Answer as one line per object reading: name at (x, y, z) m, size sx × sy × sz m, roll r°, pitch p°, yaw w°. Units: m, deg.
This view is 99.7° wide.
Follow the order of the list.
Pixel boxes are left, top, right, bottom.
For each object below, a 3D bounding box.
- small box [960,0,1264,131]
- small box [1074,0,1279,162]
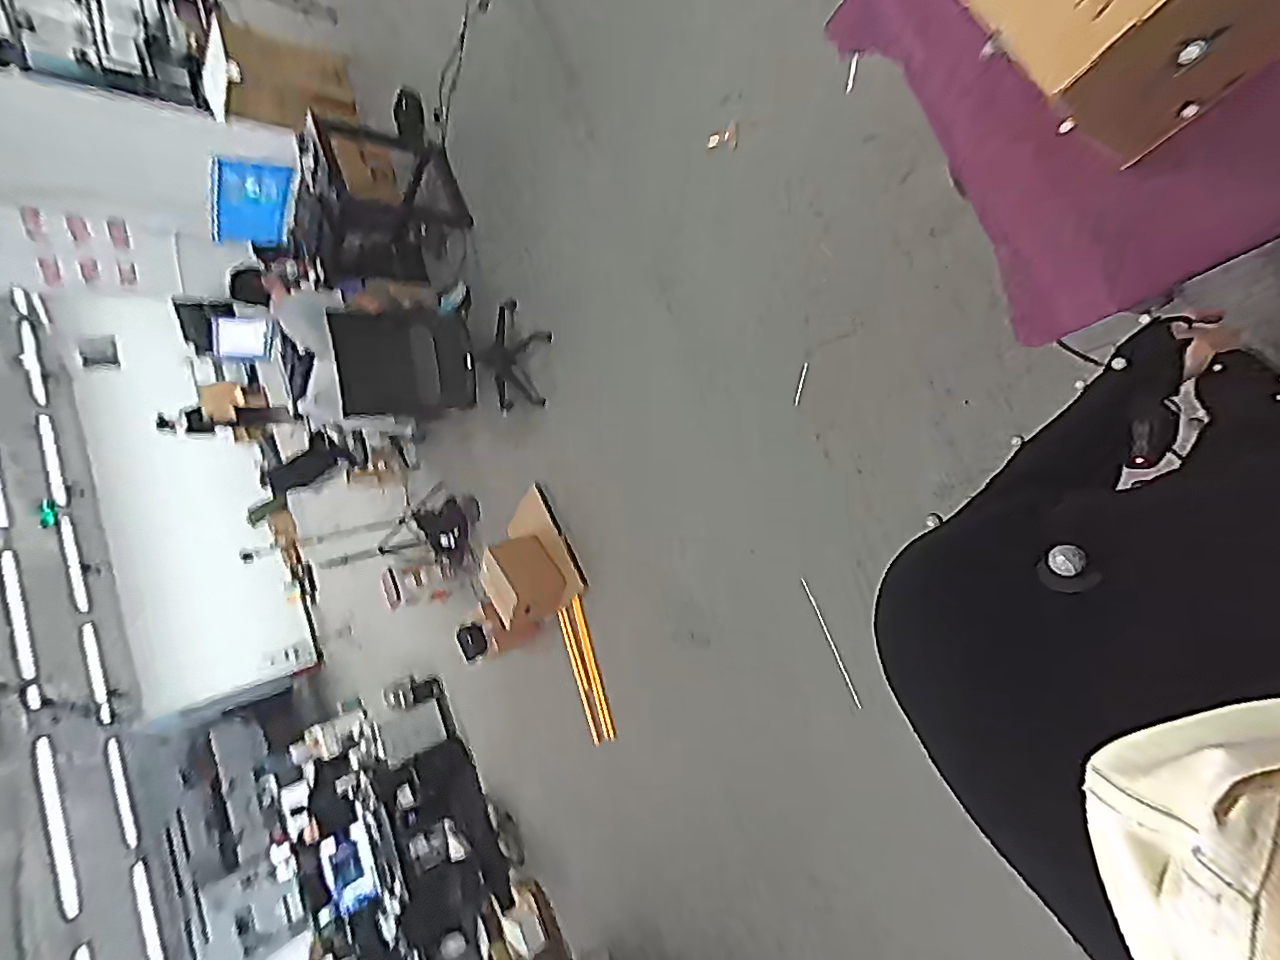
small box at (0.403, -0.444, 0.467) m, size 0.168 × 0.176 × 0.179 m, roll -41°, pitch 69°, yaw 45°
small box at (0.527, -0.475, 0.571) m, size 0.168 × 0.176 × 0.179 m, roll -40°, pitch 70°, yaw 45°
